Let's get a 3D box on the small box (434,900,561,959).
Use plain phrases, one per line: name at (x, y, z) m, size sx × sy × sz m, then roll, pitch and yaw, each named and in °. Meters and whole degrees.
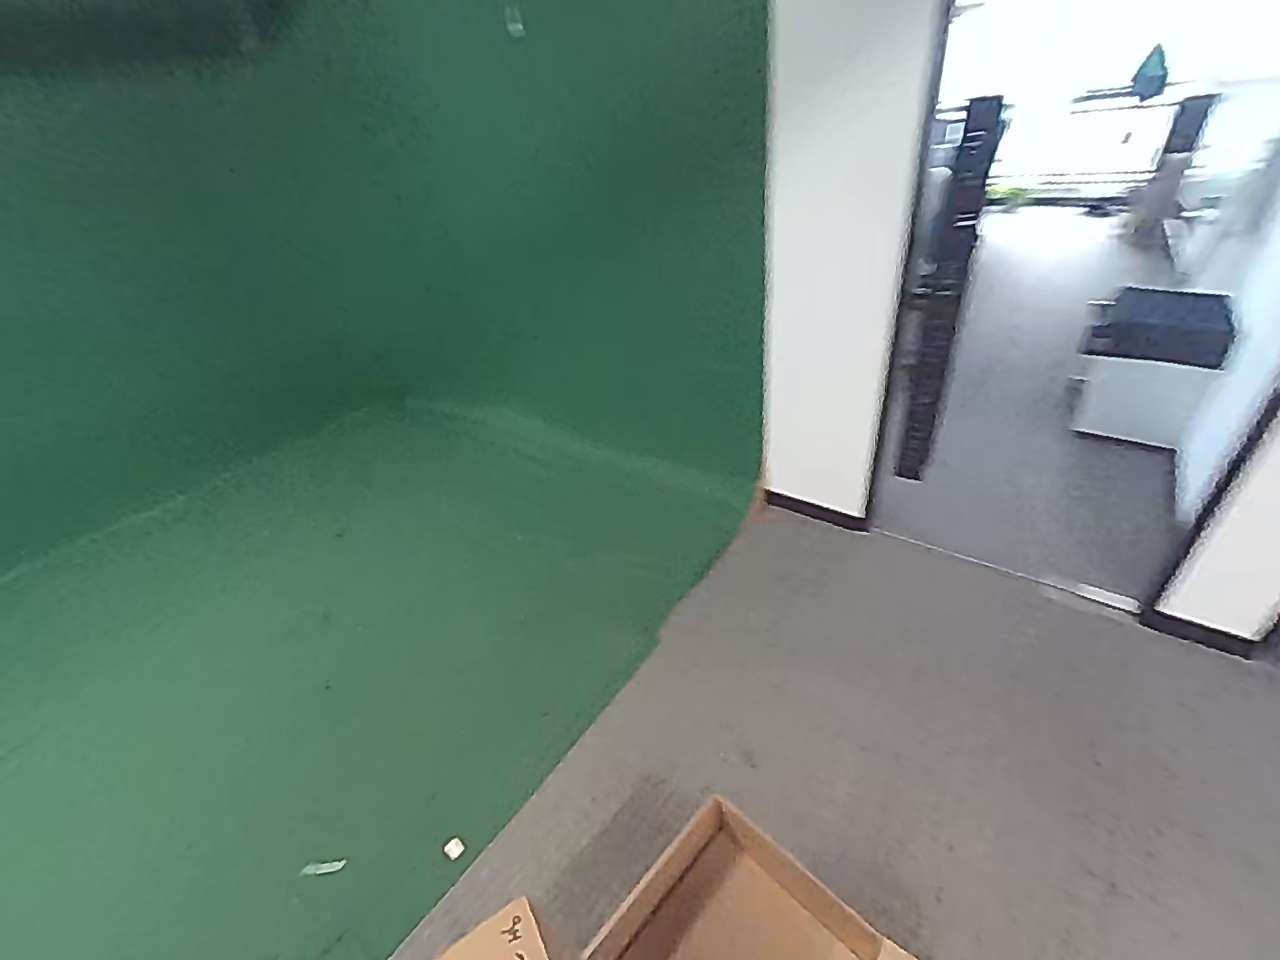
small box at (-0.164, 0.638, 0.603) m, size 0.179 × 0.176 × 0.168 m, roll -26°, pitch 36°, yaw -21°
